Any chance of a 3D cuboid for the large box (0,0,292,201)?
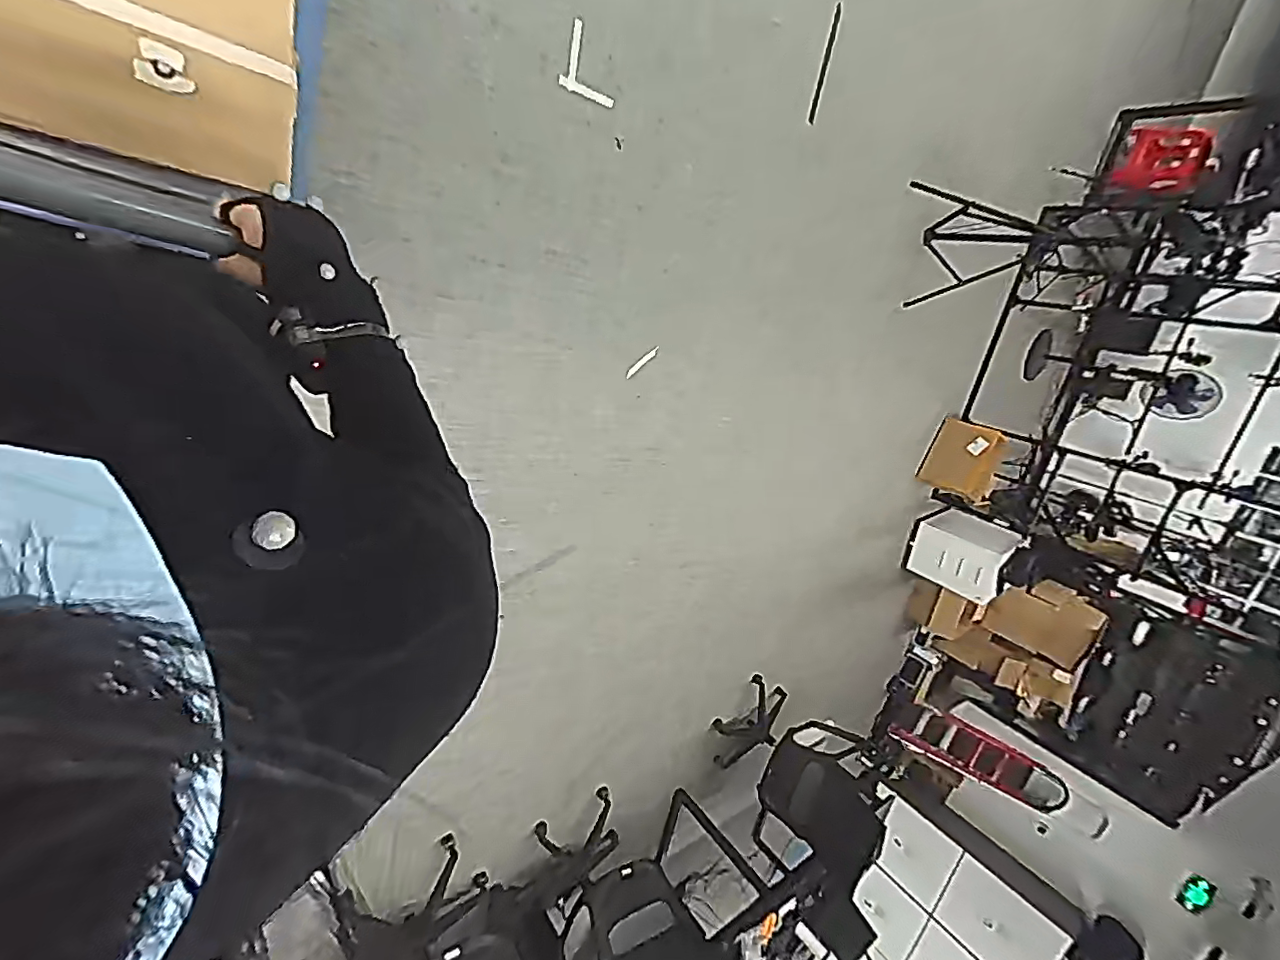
[{"bbox_3d":[-0.733,-0.601,0.727,0.408,0.320,0.320,-2,112,-42],"label":"large box"}]
